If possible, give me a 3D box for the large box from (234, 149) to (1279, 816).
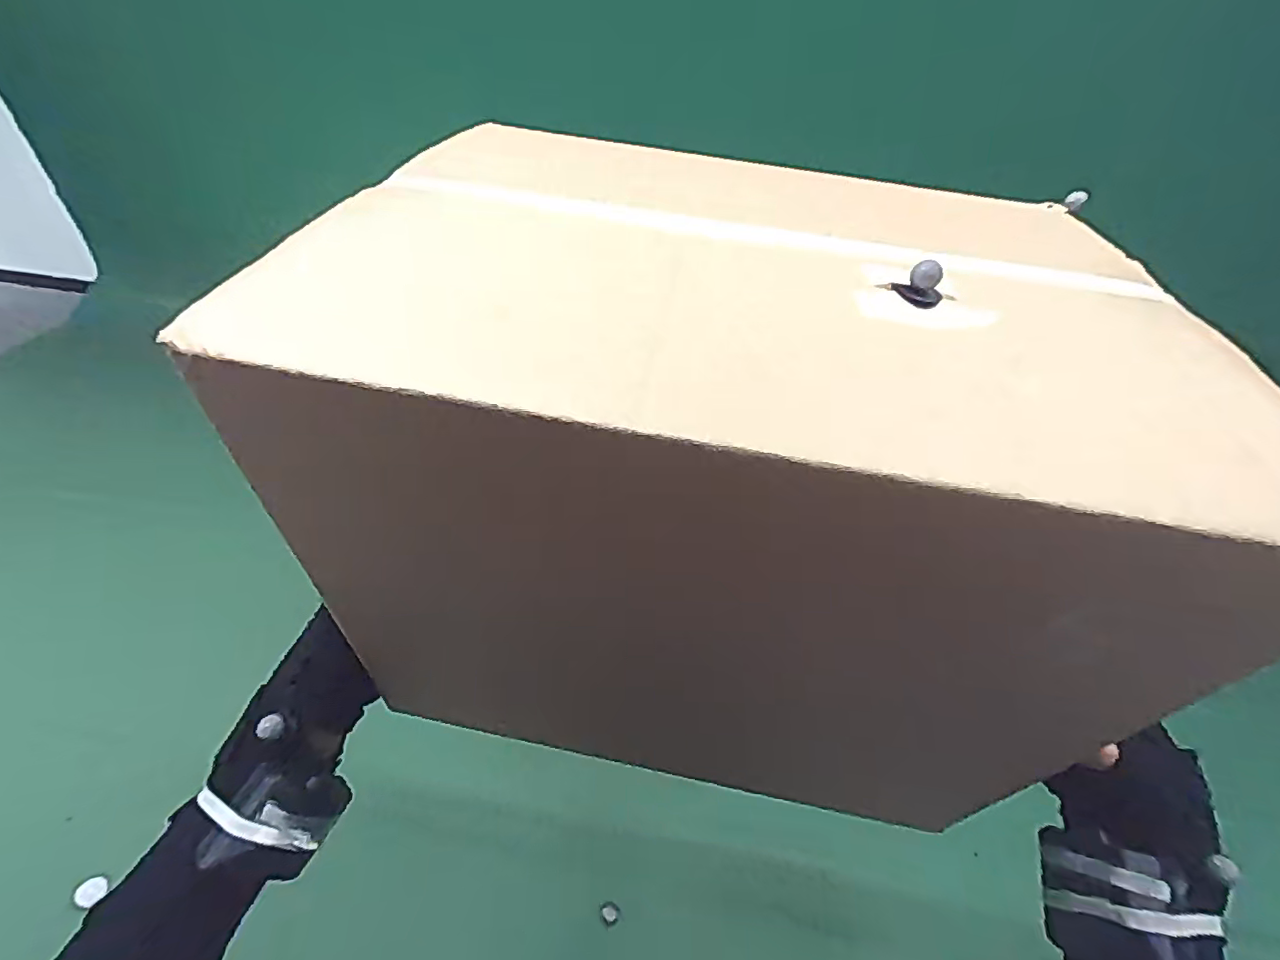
[{"bbox_3d":[0.053,-0.005,0.395,0.408,0.320,0.320,11,45,4],"label":"large box"}]
